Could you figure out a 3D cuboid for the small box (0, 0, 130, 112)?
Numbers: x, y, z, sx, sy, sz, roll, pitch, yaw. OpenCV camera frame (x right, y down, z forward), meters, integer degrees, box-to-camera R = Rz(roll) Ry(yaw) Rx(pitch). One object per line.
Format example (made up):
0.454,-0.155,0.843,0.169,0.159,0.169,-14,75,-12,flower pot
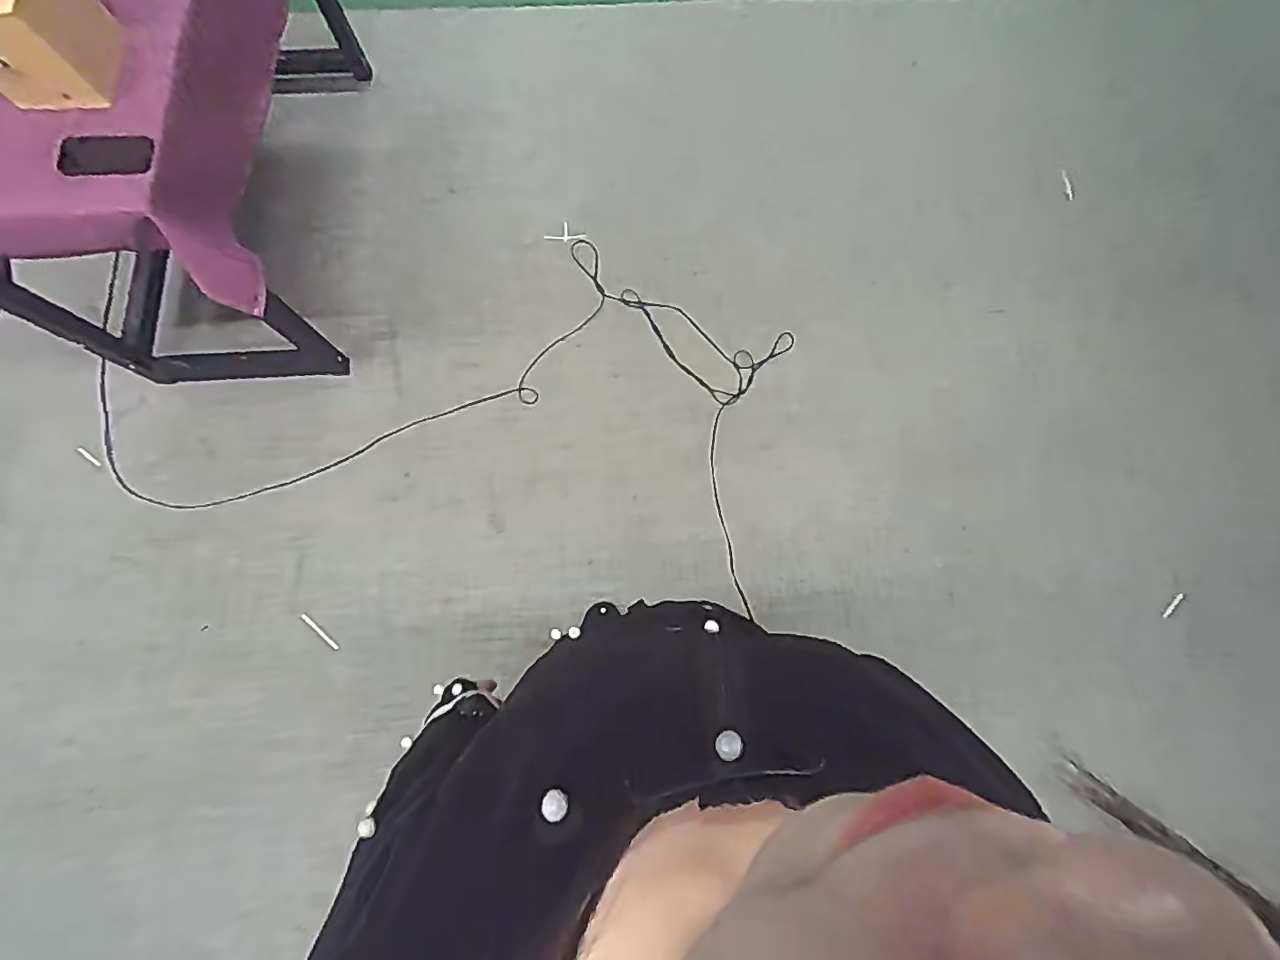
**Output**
-1.044,-0.771,0.932,0.168,0.176,0.179,-1,75,-1,small box
